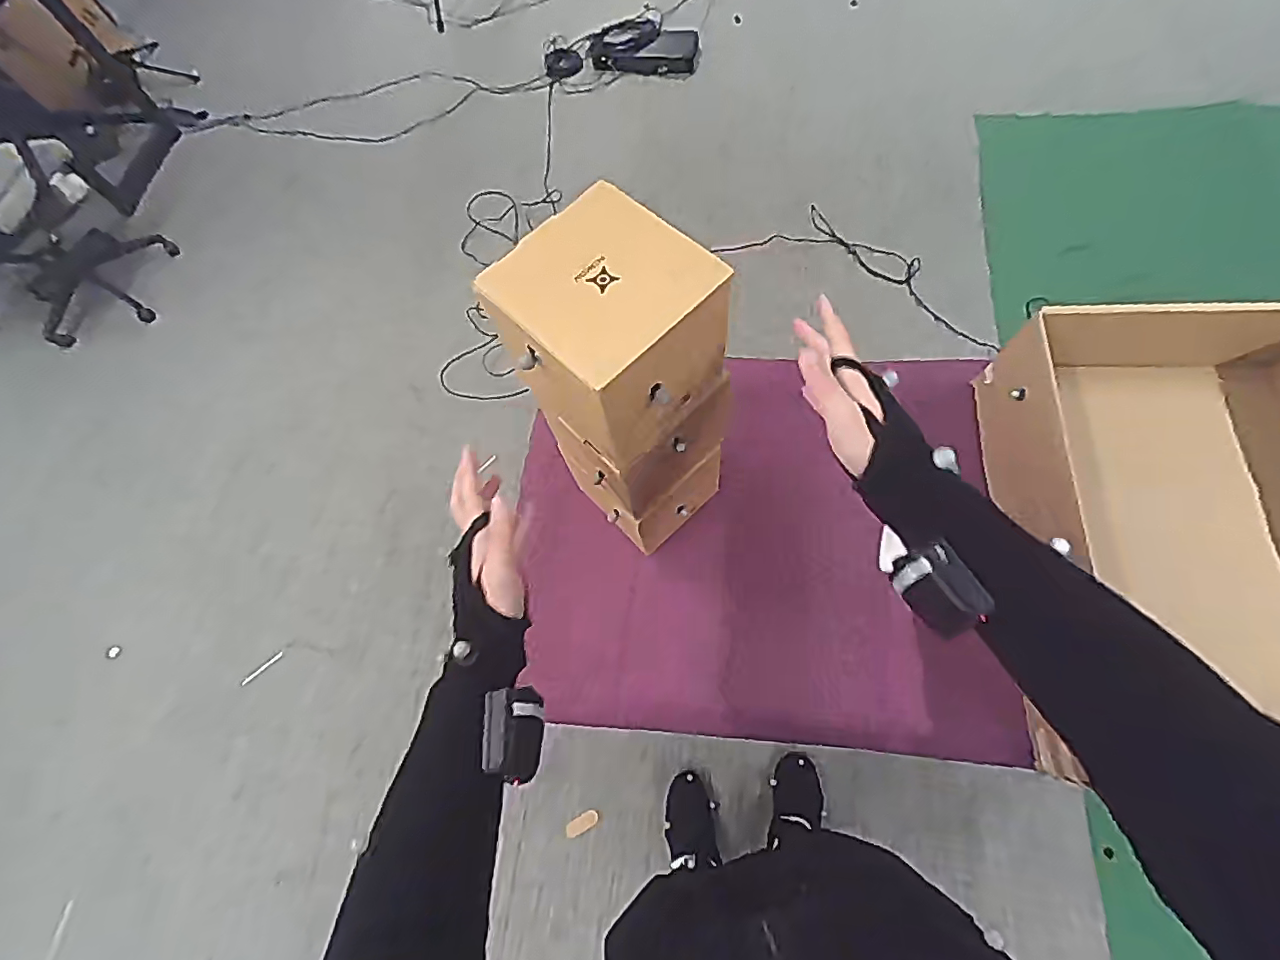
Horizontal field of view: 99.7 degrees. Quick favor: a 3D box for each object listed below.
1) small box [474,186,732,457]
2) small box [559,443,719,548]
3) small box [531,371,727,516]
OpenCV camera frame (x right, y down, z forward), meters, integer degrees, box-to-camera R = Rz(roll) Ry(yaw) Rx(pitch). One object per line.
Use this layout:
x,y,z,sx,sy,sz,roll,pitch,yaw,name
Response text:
-0.027,-0.145,0.550,0.168,0.176,0.179,-43,70,-12,small box
0.004,-0.013,0.845,0.168,0.176,0.179,-41,69,-12,small box
-0.006,-0.081,0.697,0.179,0.176,0.168,-41,70,-11,small box
